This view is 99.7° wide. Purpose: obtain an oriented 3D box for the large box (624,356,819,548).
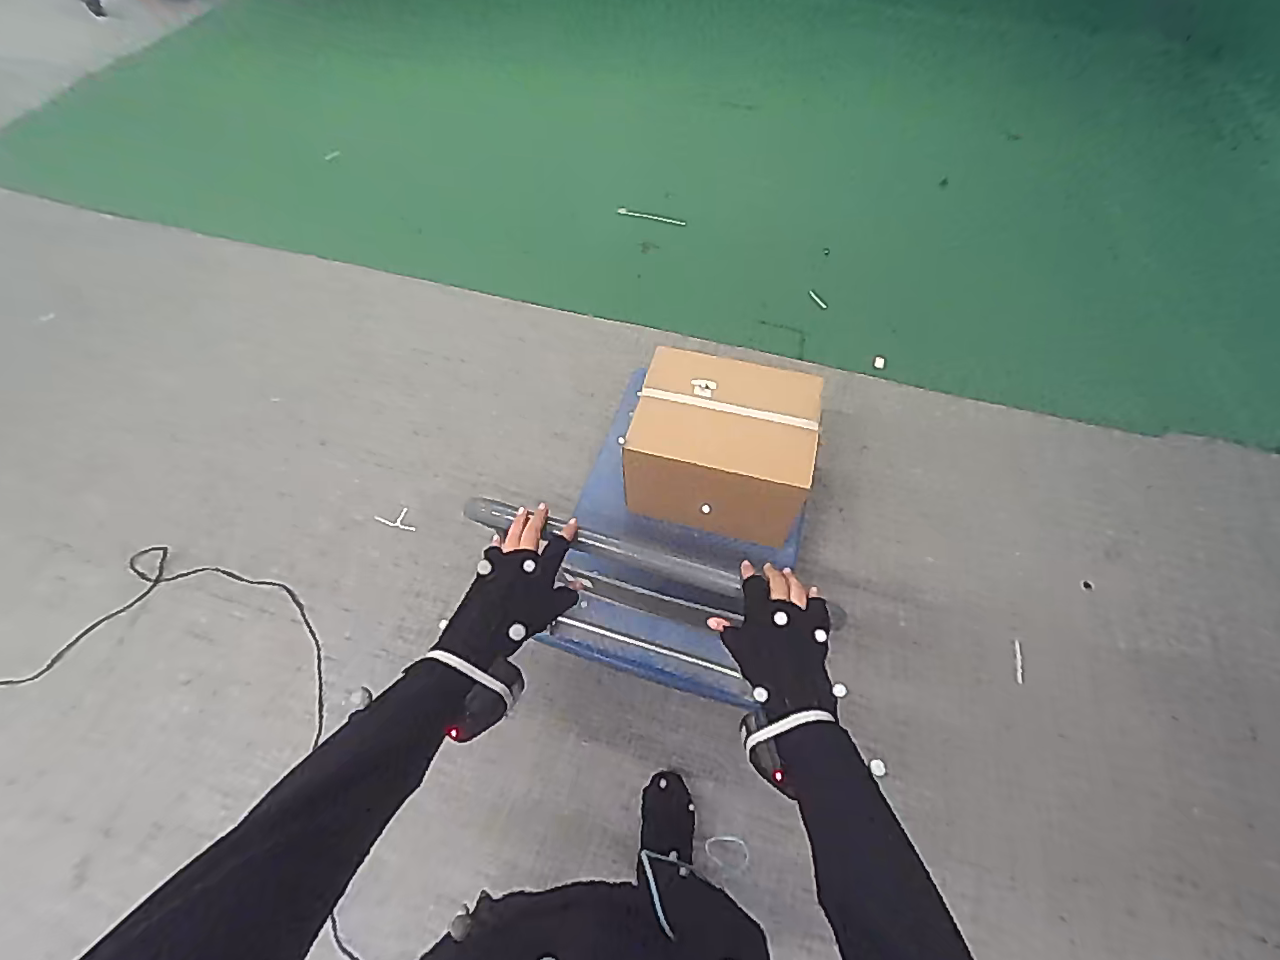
[{"bbox_3d":[0.198,-0.063,1.343,0.408,0.320,0.320,12,59,9],"label":"large box"}]
